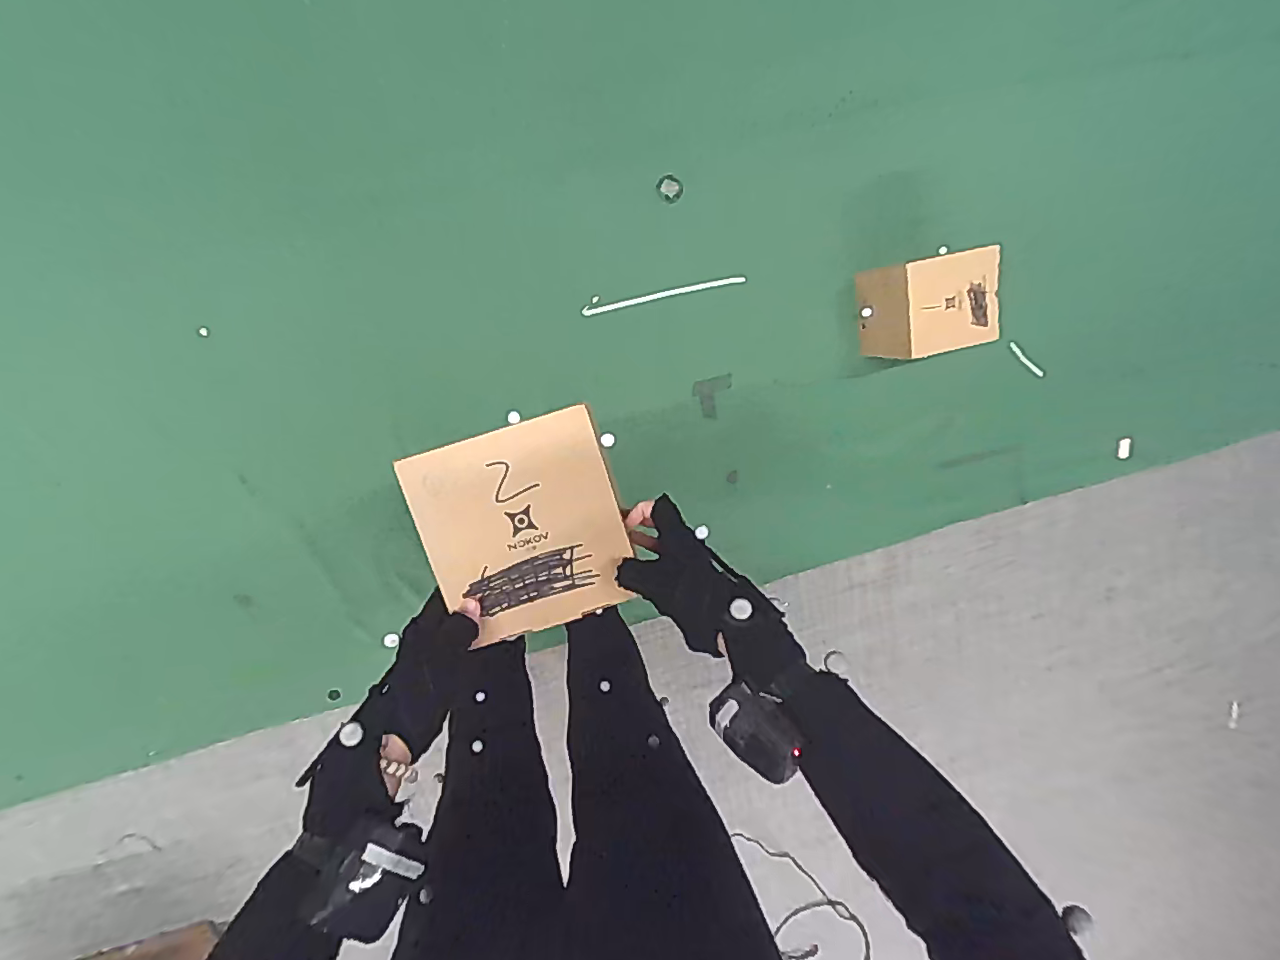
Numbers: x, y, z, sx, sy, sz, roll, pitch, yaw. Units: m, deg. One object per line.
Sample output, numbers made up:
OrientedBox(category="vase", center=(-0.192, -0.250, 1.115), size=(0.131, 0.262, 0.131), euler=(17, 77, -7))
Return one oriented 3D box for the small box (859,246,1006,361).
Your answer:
OrientedBox(category="small box", center=(0.537, -0.325, 1.005), size=(0.179, 0.176, 0.168), euler=(-14, 107, -5))
